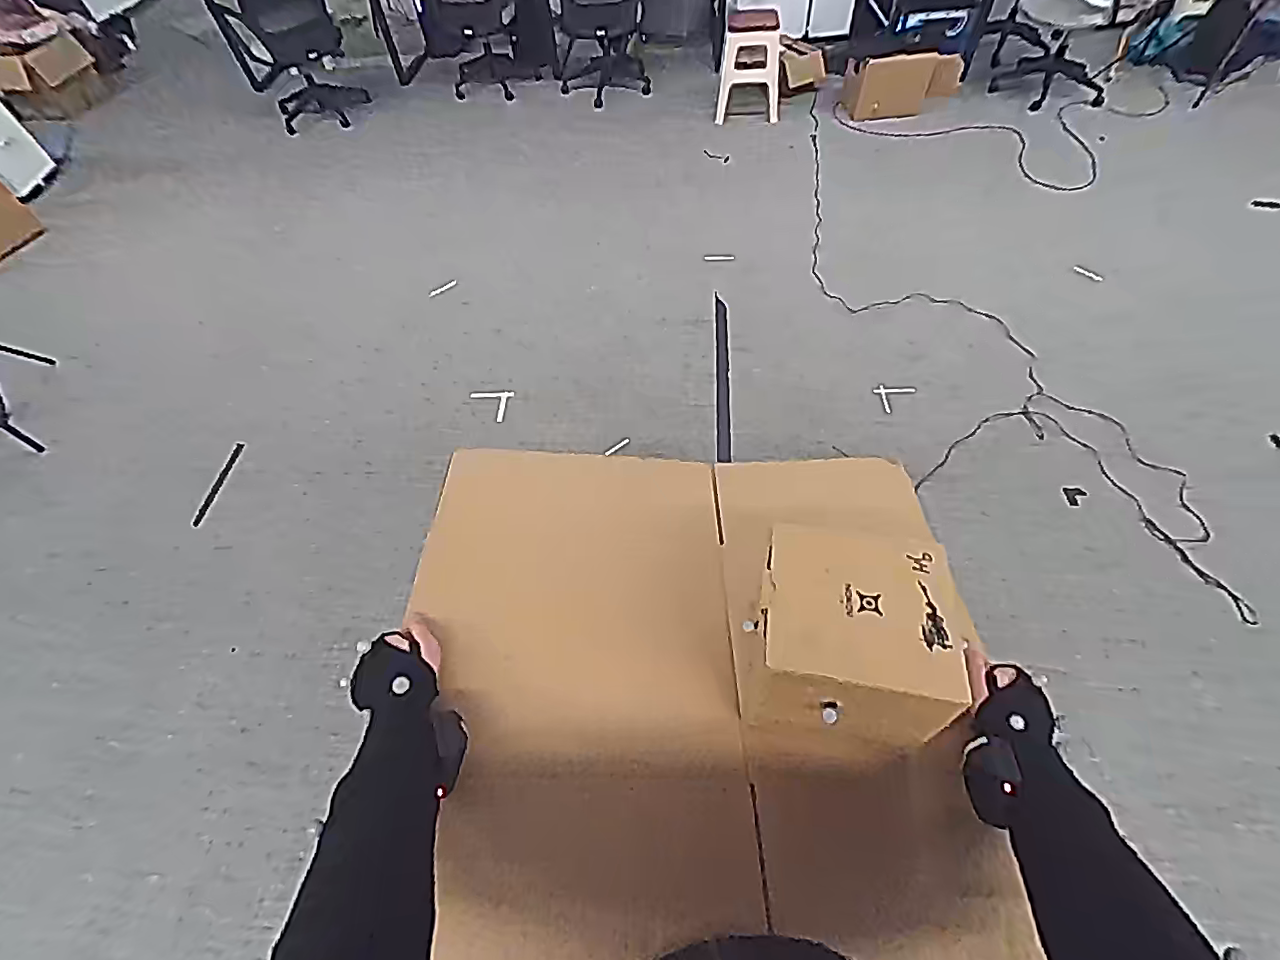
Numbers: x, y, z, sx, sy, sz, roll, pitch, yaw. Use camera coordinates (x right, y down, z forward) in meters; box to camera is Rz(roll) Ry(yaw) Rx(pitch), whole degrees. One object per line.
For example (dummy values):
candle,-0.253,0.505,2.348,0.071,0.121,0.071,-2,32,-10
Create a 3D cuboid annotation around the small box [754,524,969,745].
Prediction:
small box,0.221,0.169,0.588,0.179,0.176,0.168,6,51,11
